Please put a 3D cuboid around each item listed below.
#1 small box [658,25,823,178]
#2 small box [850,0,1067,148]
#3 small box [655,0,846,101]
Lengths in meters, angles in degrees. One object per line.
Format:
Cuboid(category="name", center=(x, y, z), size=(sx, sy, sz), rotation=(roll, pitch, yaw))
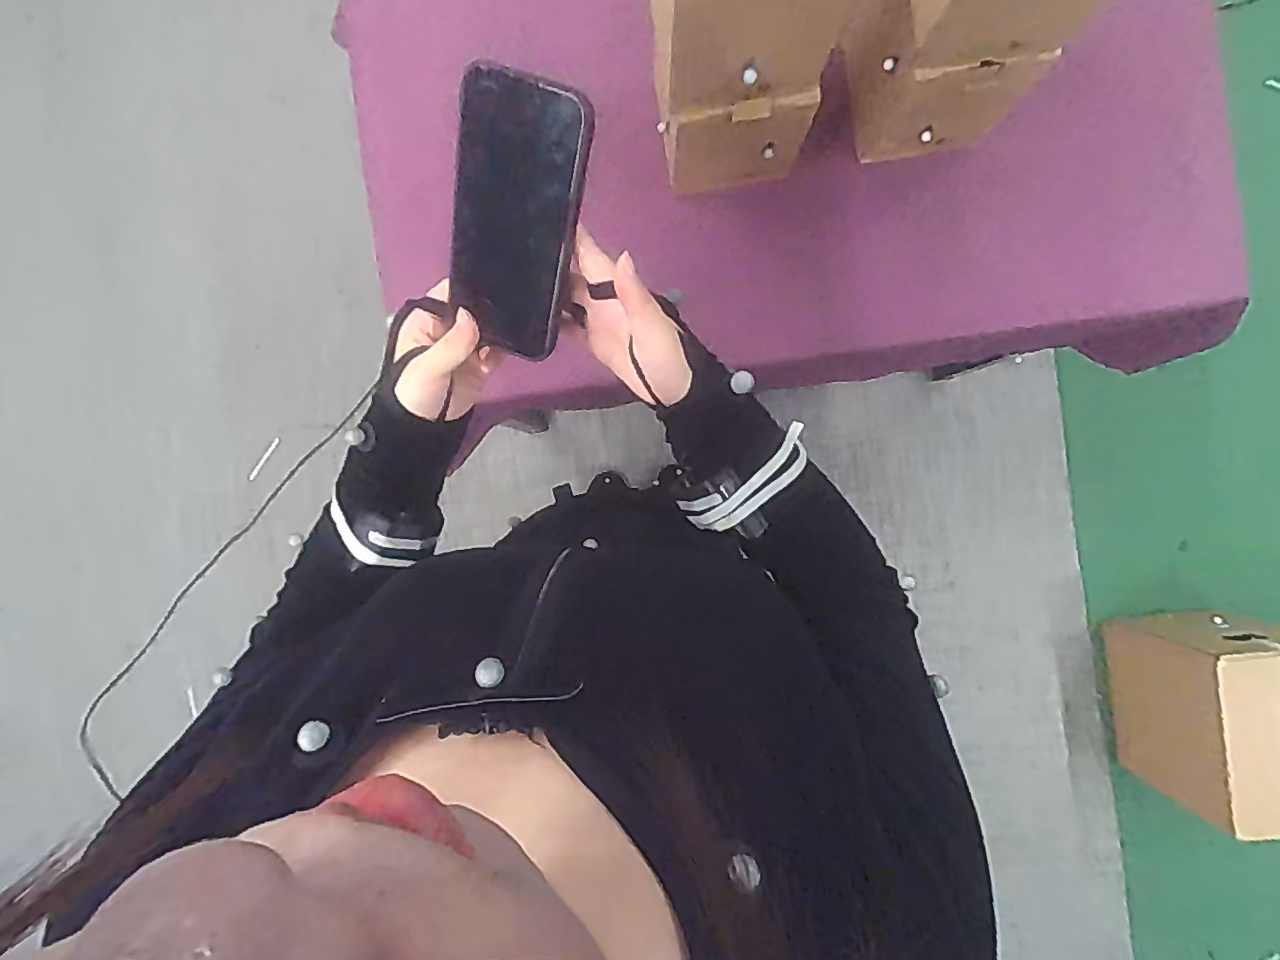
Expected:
Cuboid(category="small box", center=(0.115, -0.507, 0.679), size=(0.168, 0.176, 0.179), rotation=(-8, 91, 1))
Cuboid(category="small box", center=(0.376, -0.553, 0.668), size=(0.168, 0.176, 0.179), rotation=(-8, 92, 2))
Cuboid(category="small box", center=(0.098, -0.512, 0.514), size=(0.168, 0.176, 0.179), rotation=(-9, 91, 2))
